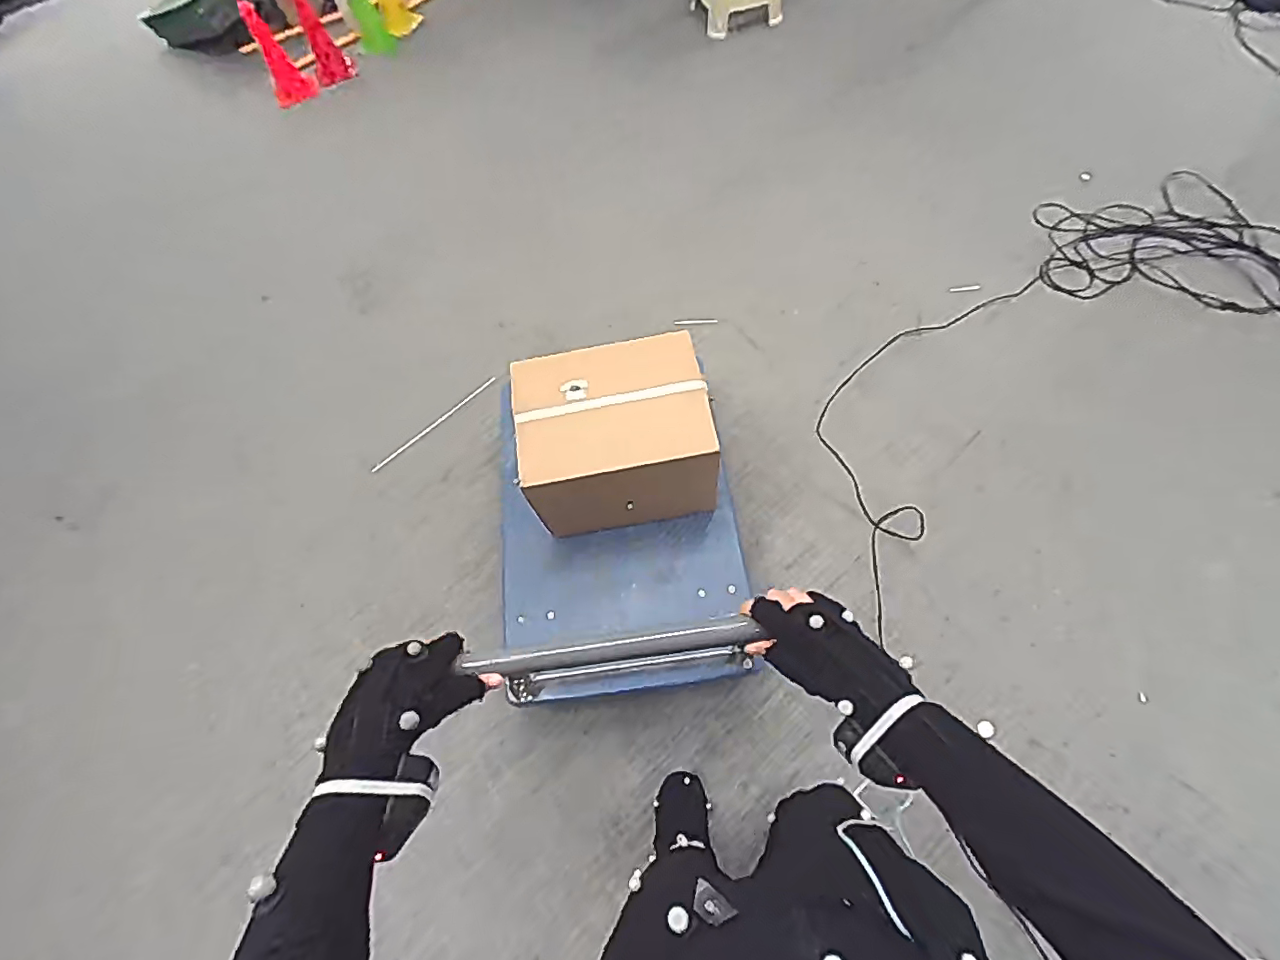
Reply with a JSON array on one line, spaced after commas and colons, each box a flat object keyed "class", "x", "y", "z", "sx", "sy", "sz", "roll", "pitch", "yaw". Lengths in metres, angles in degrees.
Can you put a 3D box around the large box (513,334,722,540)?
[{"class": "large box", "x": -0.044, "y": -0.086, "z": 1.266, "sx": 0.408, "sy": 0.320, "sz": 0.320, "roll": -12, "pitch": 64, "yaw": 1}]
